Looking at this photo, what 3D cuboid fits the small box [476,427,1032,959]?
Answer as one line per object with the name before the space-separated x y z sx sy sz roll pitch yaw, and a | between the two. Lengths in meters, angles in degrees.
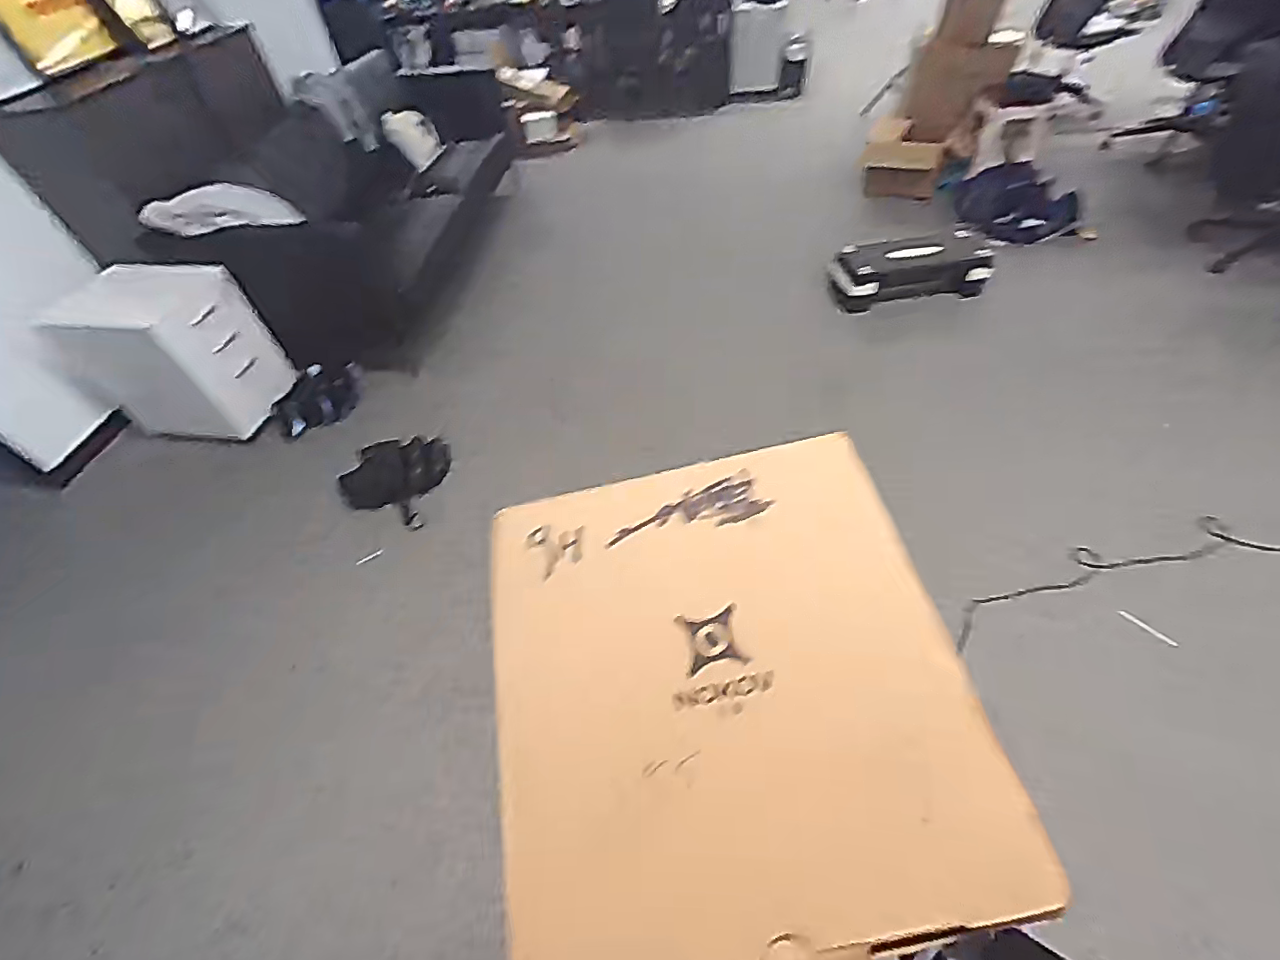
small box | 0.030 0.105 0.266 0.168 0.176 0.179 -12 59 1
